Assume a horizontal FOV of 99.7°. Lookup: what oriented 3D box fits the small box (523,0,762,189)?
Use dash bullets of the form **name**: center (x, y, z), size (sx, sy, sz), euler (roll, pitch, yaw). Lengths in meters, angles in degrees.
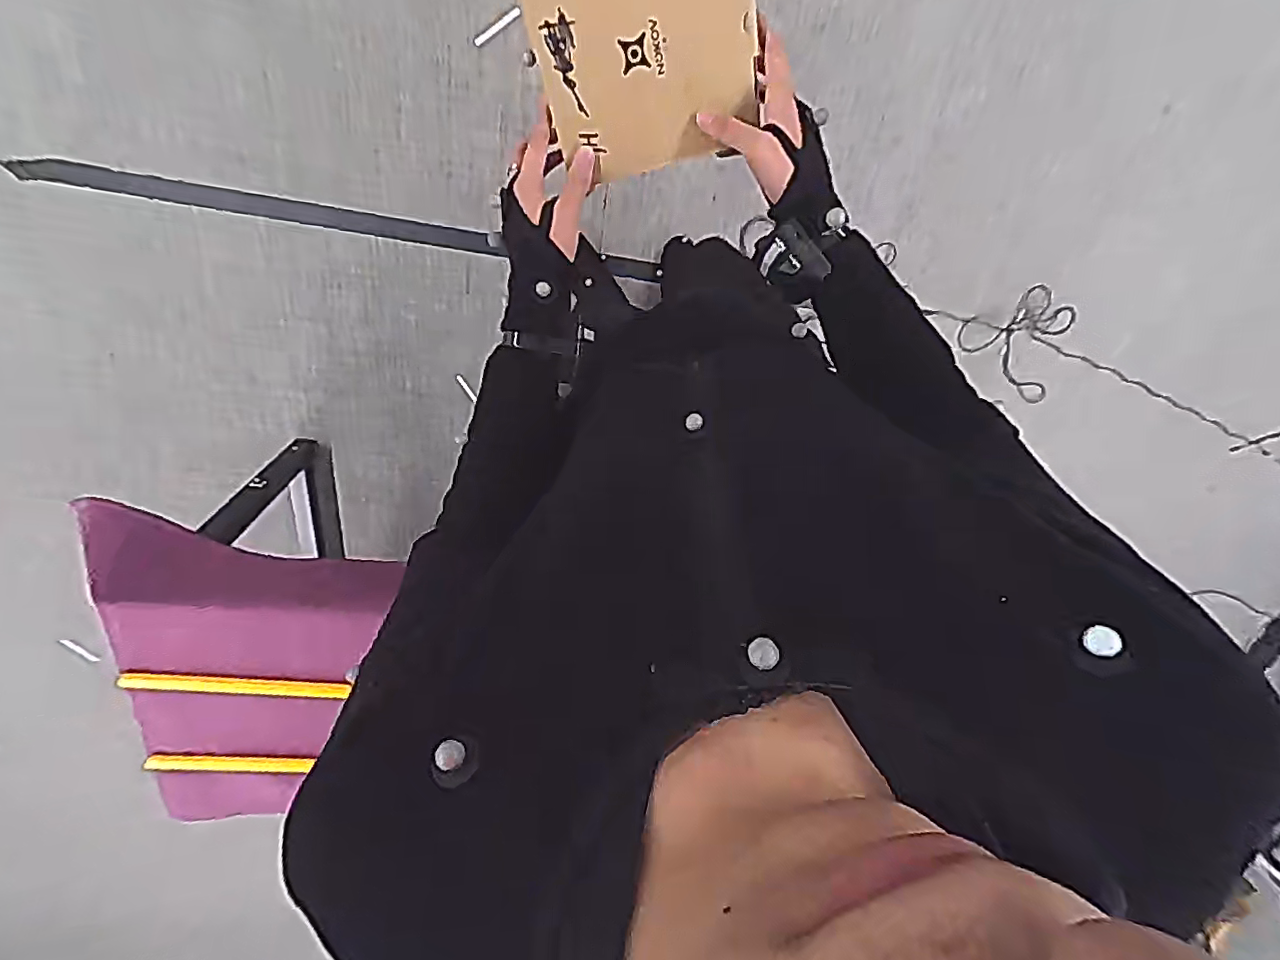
- **small box**: center (0.003, -0.389, 0.491), size (0.179, 0.176, 0.168), euler (-10, 128, 6)
